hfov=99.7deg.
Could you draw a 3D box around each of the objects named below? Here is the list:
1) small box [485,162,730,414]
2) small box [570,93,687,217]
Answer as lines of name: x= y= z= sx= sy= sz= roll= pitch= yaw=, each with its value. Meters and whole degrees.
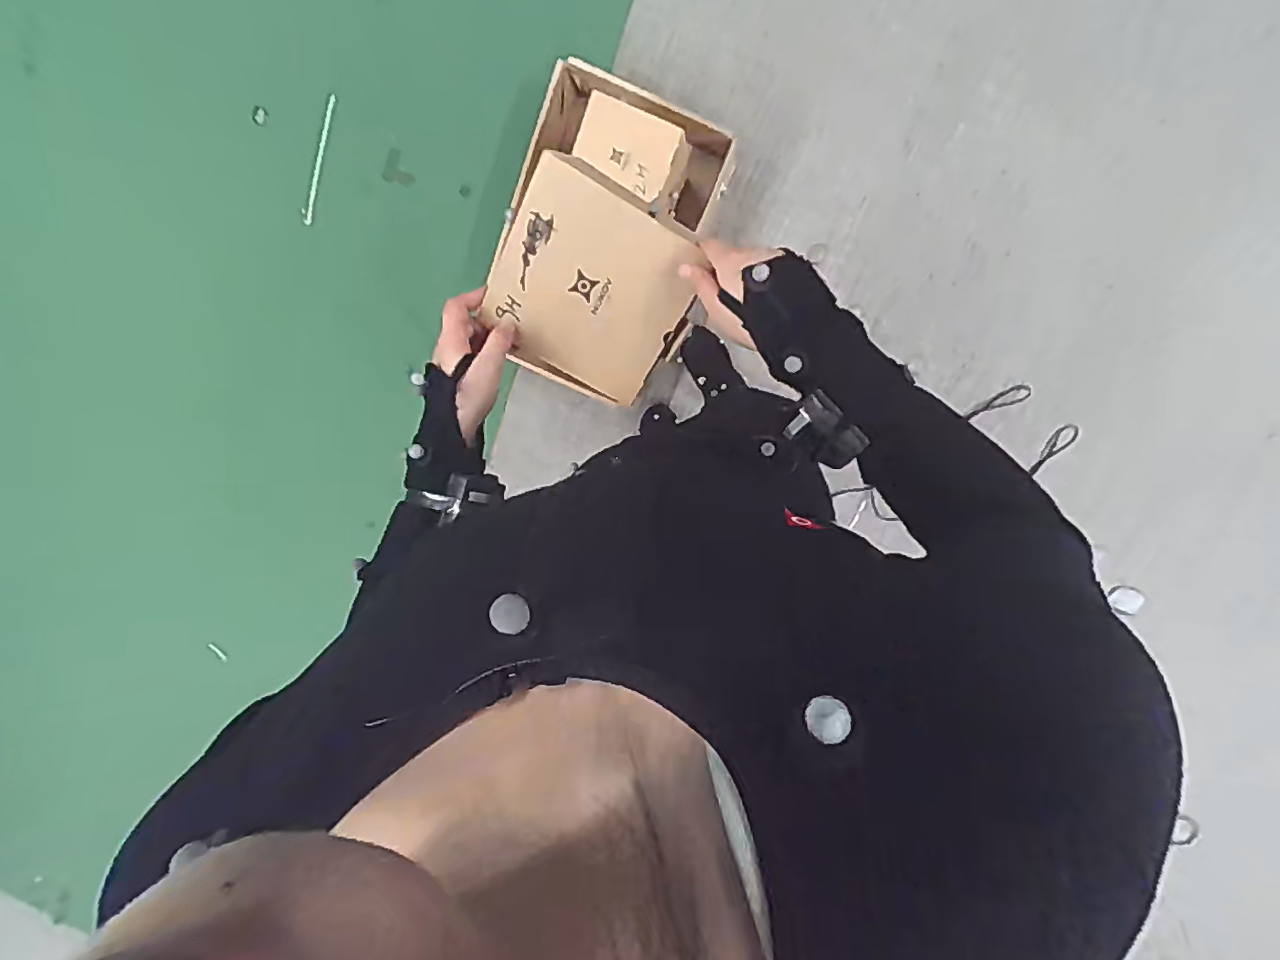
small box: x=-0.030 y=-0.203 z=0.565 sx=0.179 sy=0.176 sz=0.168 roll=29 pitch=115 yaw=-12
small box: x=-0.022 y=-0.579 z=1.021 sx=0.179 sy=0.176 sz=0.168 roll=24 pitch=108 yaw=-1
